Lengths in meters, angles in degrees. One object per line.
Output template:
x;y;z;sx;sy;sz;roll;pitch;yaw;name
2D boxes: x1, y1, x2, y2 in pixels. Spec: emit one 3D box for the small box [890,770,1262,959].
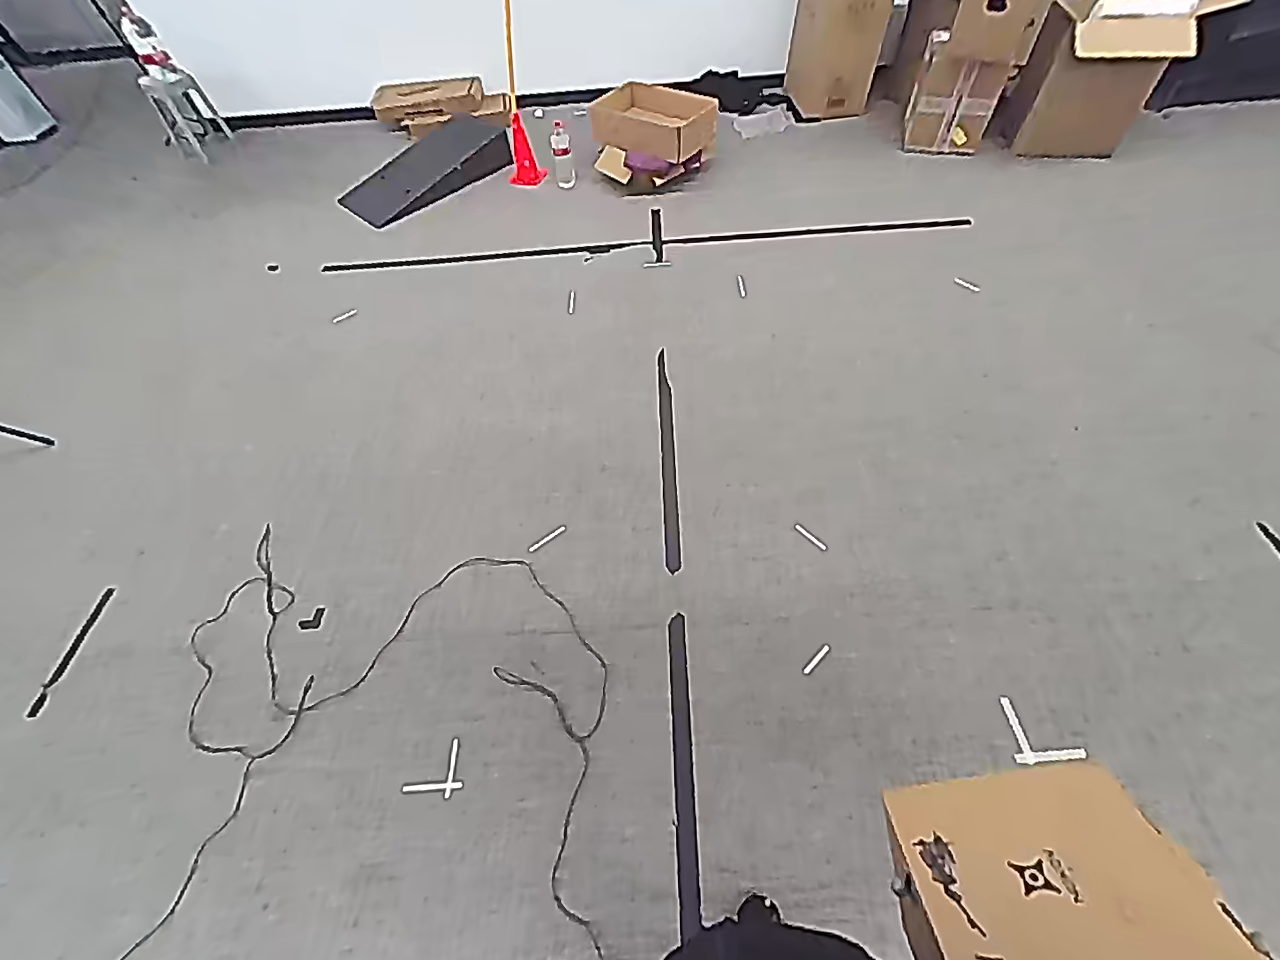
0.312;0.359;0.410;0.179;0.176;0.168;-13;18;9;small box
